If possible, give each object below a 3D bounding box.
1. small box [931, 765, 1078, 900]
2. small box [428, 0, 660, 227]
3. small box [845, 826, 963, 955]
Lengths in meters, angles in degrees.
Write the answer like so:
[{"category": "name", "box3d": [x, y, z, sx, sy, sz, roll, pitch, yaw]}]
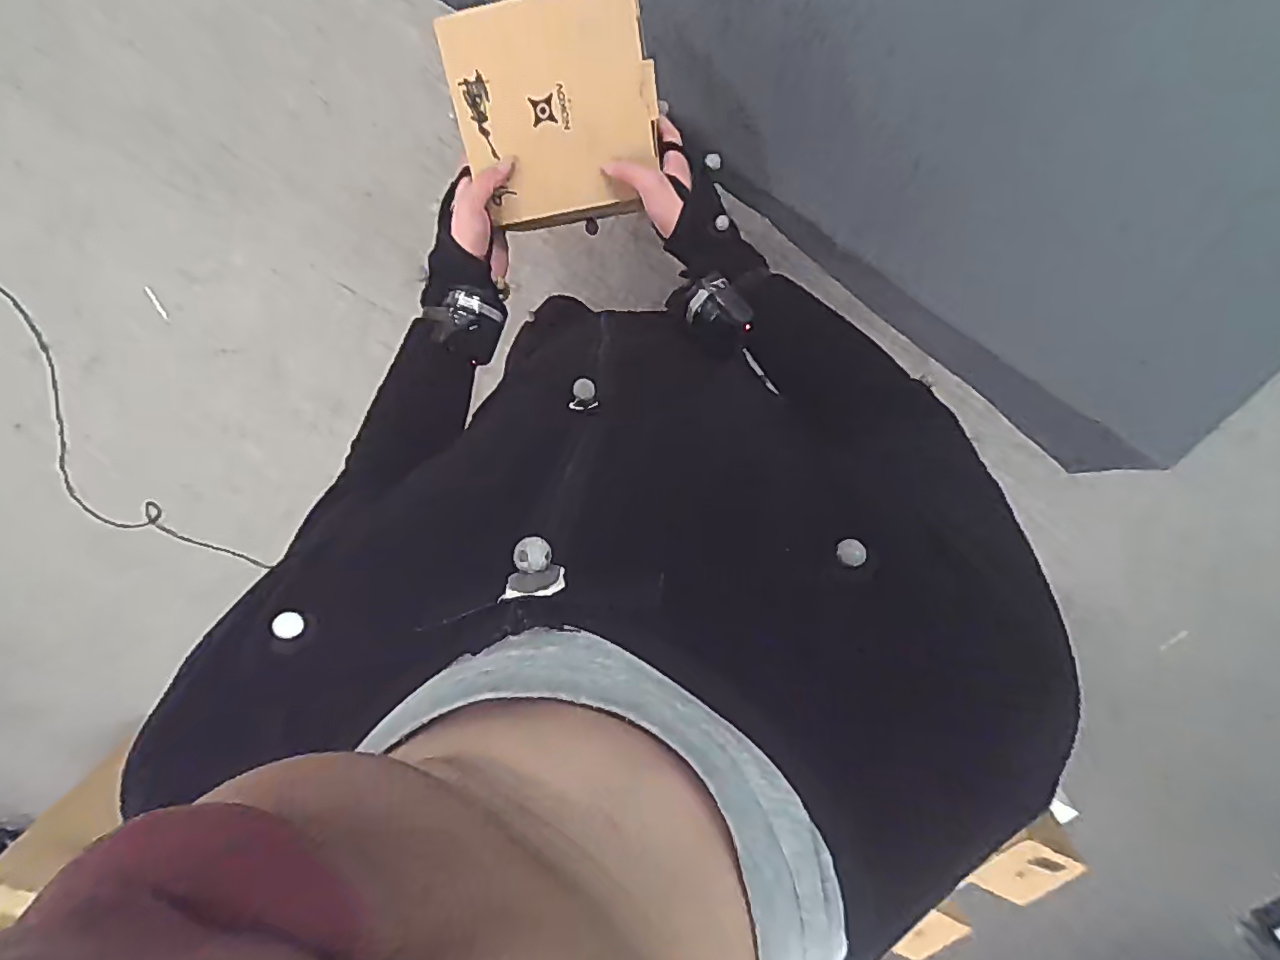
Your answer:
[{"category": "small box", "box3d": [0.791, 0.772, 1.196, 0.168, 0.176, 0.179, 30, 115, -9]}, {"category": "small box", "box3d": [-0.077, -0.357, 0.544, 0.179, 0.176, 0.168, -7, 113, 6]}, {"category": "small box", "box3d": [0.626, 0.992, 1.312, 0.168, 0.176, 0.179, 33, 111, -11]}]
